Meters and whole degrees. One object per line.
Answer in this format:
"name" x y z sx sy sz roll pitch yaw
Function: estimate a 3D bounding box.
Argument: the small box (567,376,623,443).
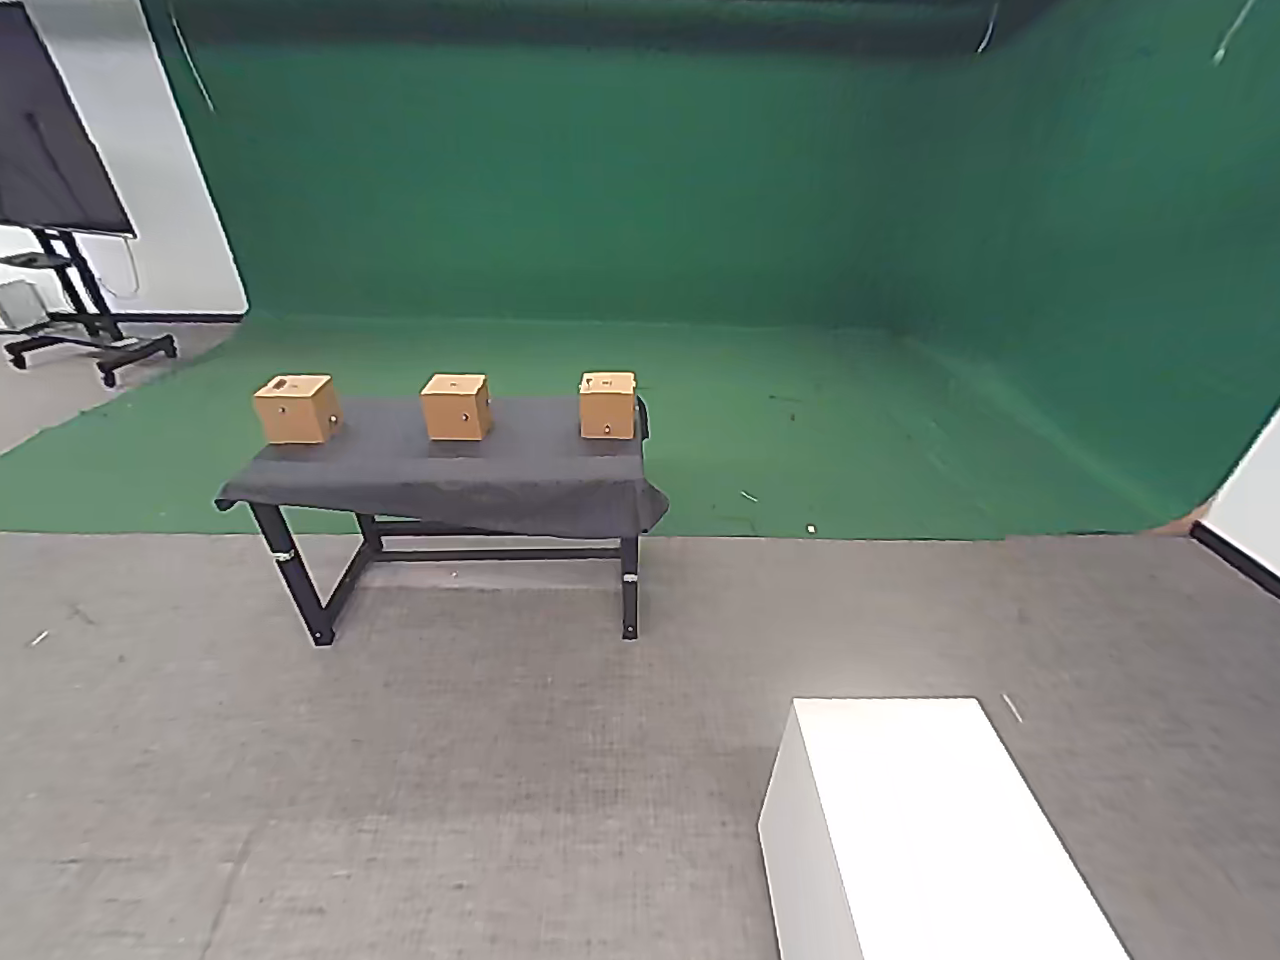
"small box" -0.150 -0.237 1.822 0.179 0.176 0.168 2 32 -2

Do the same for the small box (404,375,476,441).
"small box" -0.647 -0.234 1.778 0.179 0.176 0.168 0 31 -4

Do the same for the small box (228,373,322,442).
"small box" -1.147 -0.229 1.717 0.179 0.176 0.168 0 33 -7
